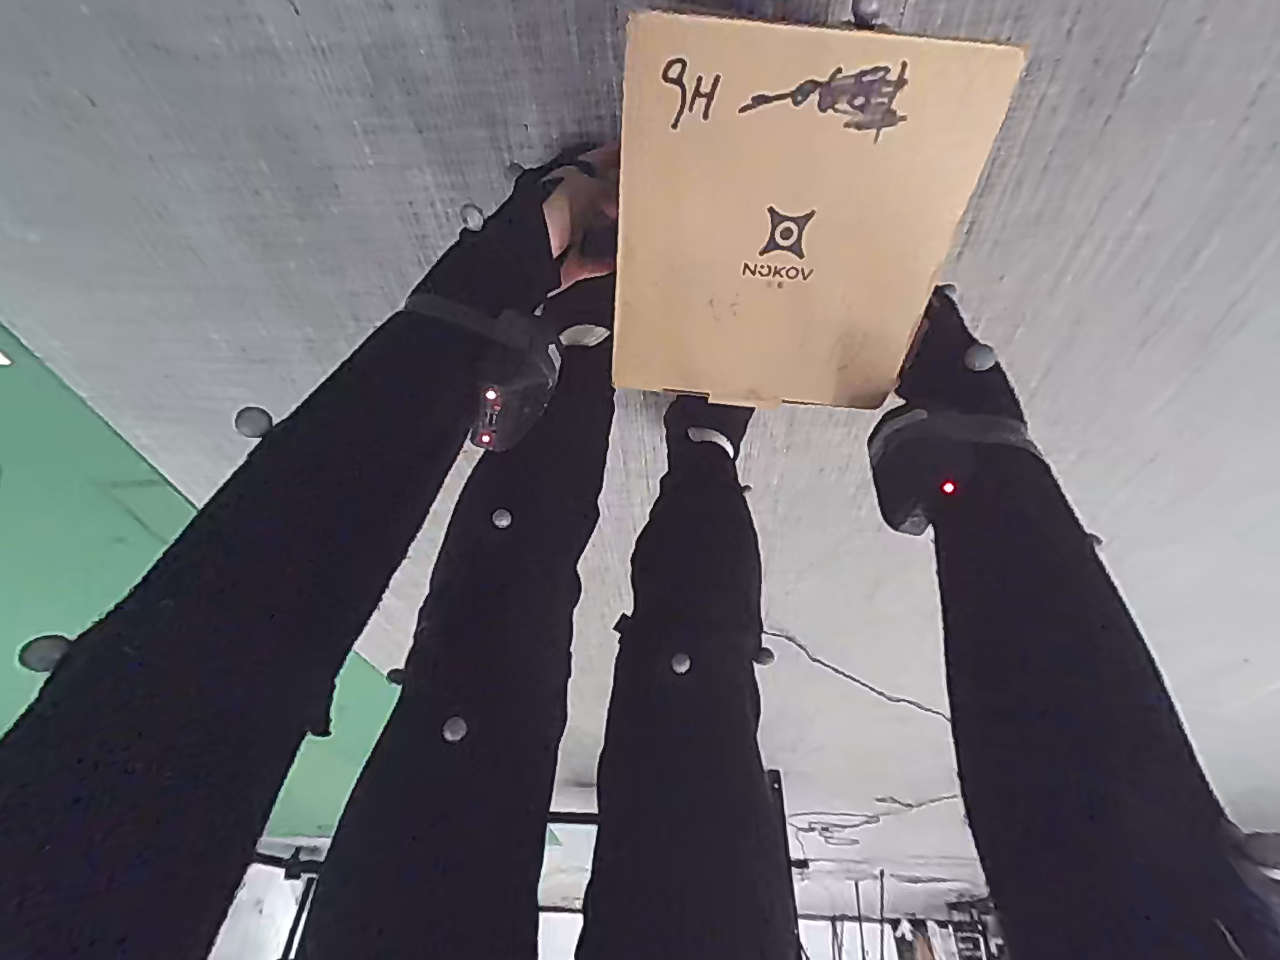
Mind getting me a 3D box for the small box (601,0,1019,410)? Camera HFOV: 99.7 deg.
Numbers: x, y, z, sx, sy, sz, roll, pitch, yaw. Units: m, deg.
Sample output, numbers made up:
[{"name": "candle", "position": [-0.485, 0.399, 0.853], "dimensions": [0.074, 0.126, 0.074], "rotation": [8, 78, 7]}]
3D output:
[{"name": "small box", "position": [0.069, -0.167, 0.329], "dimensions": [0.168, 0.176, 0.179], "rotation": [5, 130, -2]}]
